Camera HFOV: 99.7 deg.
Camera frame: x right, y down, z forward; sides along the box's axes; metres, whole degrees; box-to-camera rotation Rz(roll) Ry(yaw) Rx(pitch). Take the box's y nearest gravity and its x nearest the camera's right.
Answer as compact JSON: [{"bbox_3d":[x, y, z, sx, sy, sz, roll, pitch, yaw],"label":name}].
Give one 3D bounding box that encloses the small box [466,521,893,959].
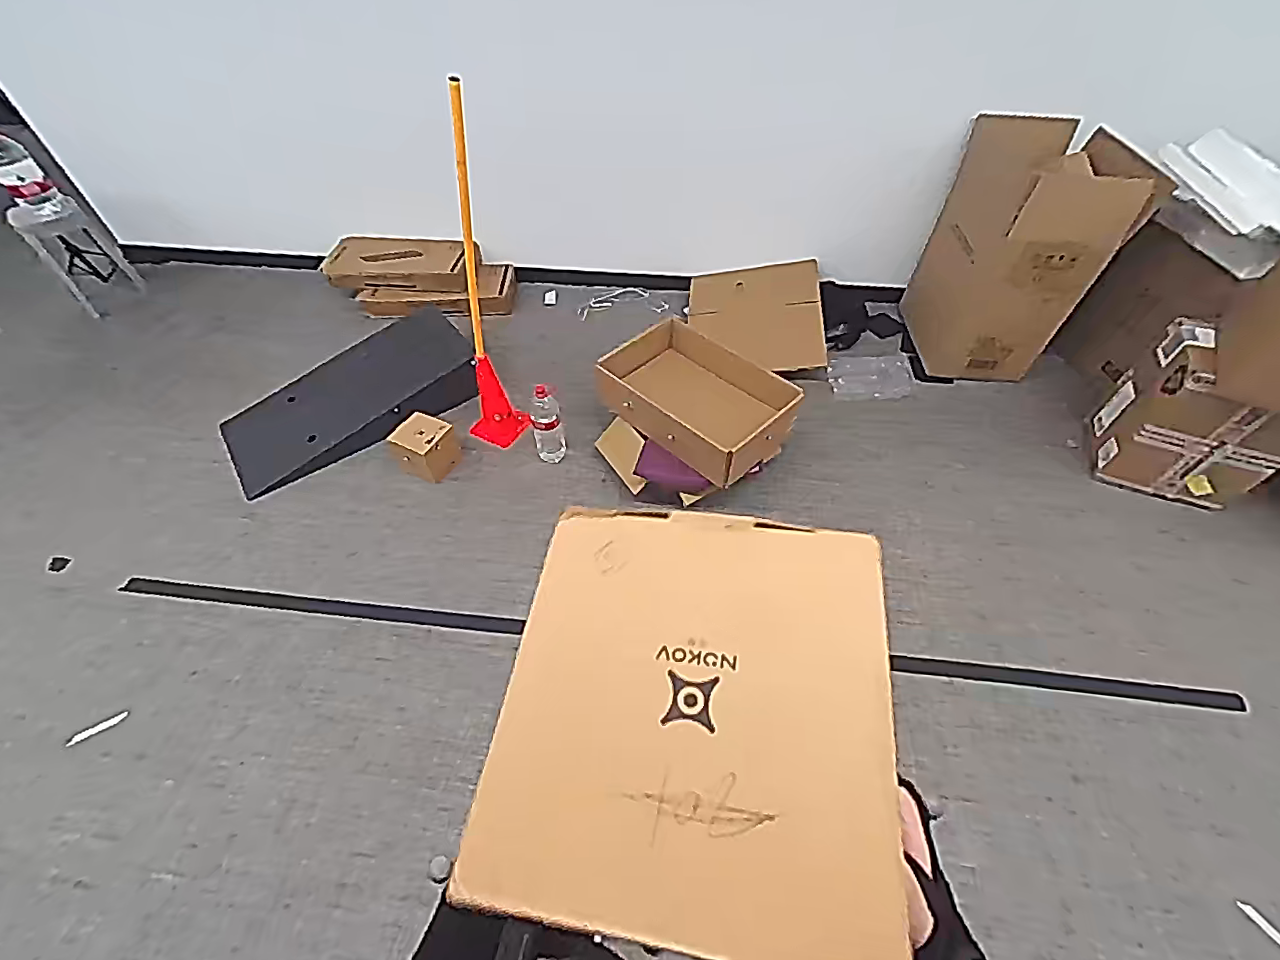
[{"bbox_3d":[0.029,0.144,0.313,0.168,0.176,0.179,3,57,10],"label":"small box"}]
